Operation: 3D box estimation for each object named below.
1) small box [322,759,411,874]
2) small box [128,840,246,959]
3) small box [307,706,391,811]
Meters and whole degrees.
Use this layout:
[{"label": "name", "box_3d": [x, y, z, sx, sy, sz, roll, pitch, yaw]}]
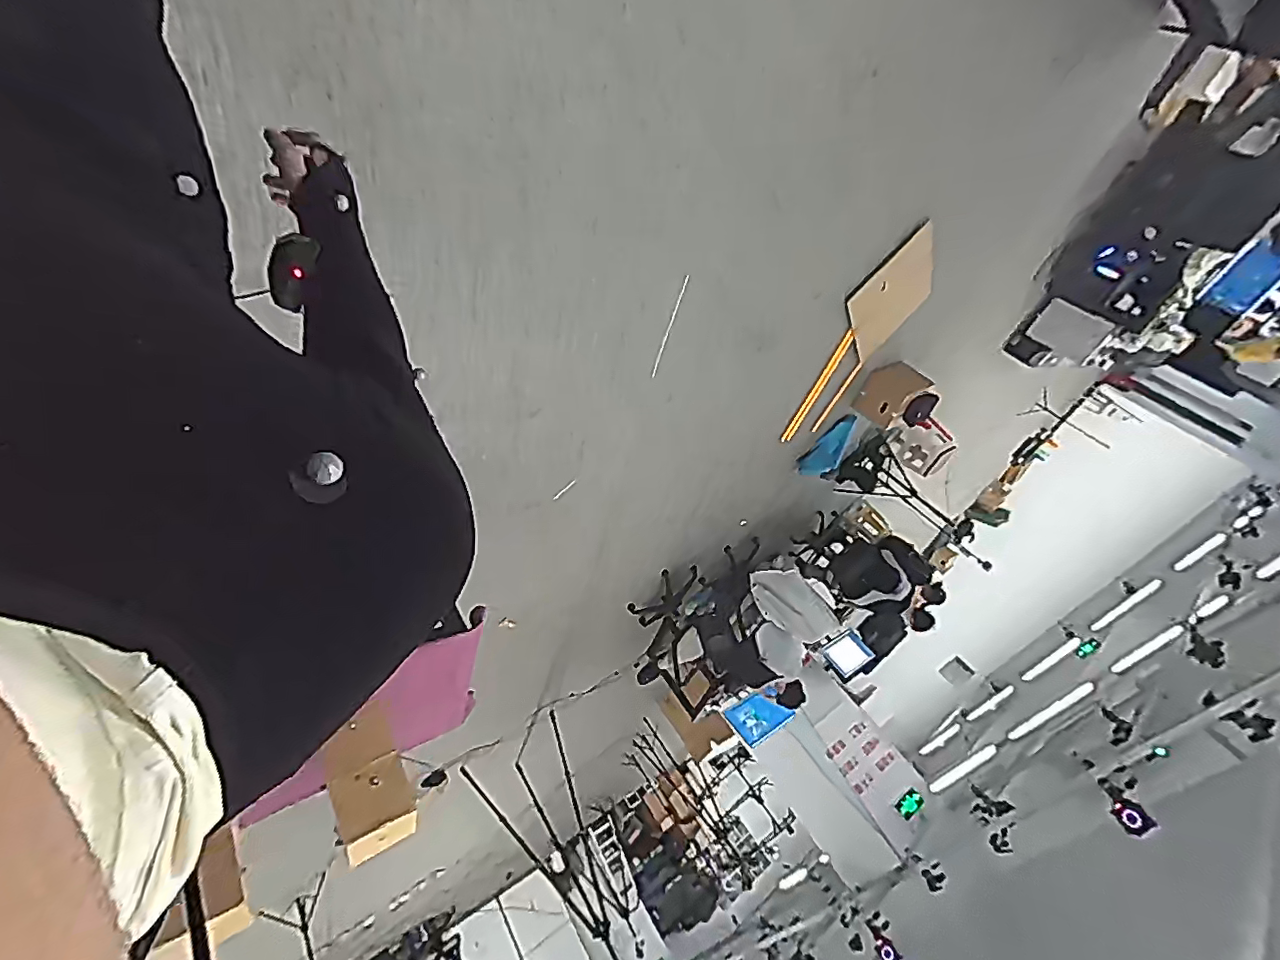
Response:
[{"label": "small box", "box_3d": [-0.708, 0.864, 1.400, 0.168, 0.176, 0.179, -14, 139, -37]}, {"label": "small box", "box_3d": [-0.983, 0.928, 1.177, 0.168, 0.176, 0.179, -13, 140, -38]}, {"label": "small box", "box_3d": [-0.799, 0.757, 1.482, 0.168, 0.176, 0.179, -13, 139, -39]}]
